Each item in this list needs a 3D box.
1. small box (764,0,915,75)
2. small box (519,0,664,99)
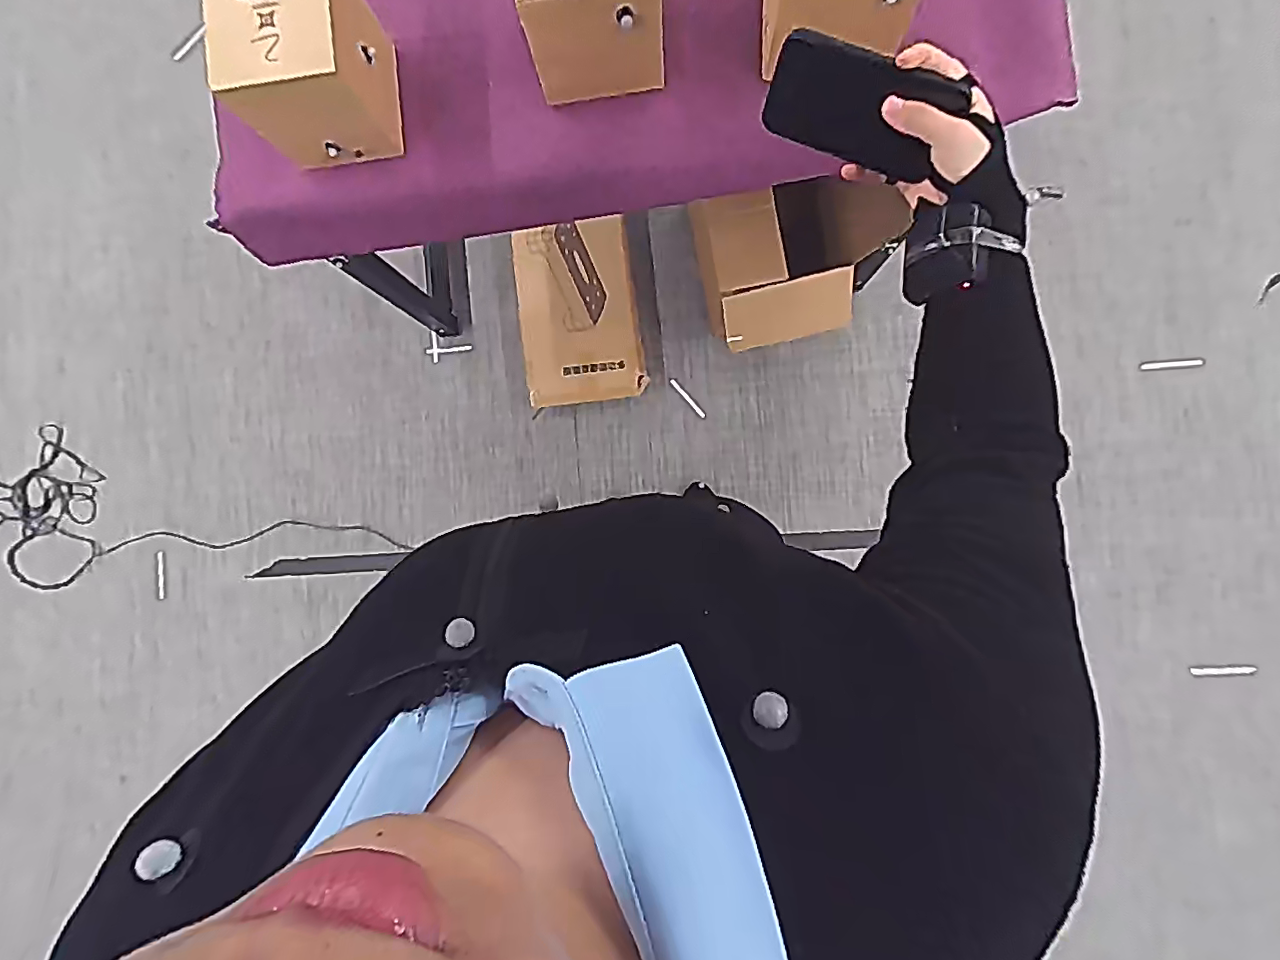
[{"bbox_3d":[0.257,-0.657,0.691,0.179,0.176,0.168,1,88,4],"label":"small box"},{"bbox_3d":[-0.061,-0.646,0.710,0.179,0.176,0.168,-7,86,4],"label":"small box"}]
